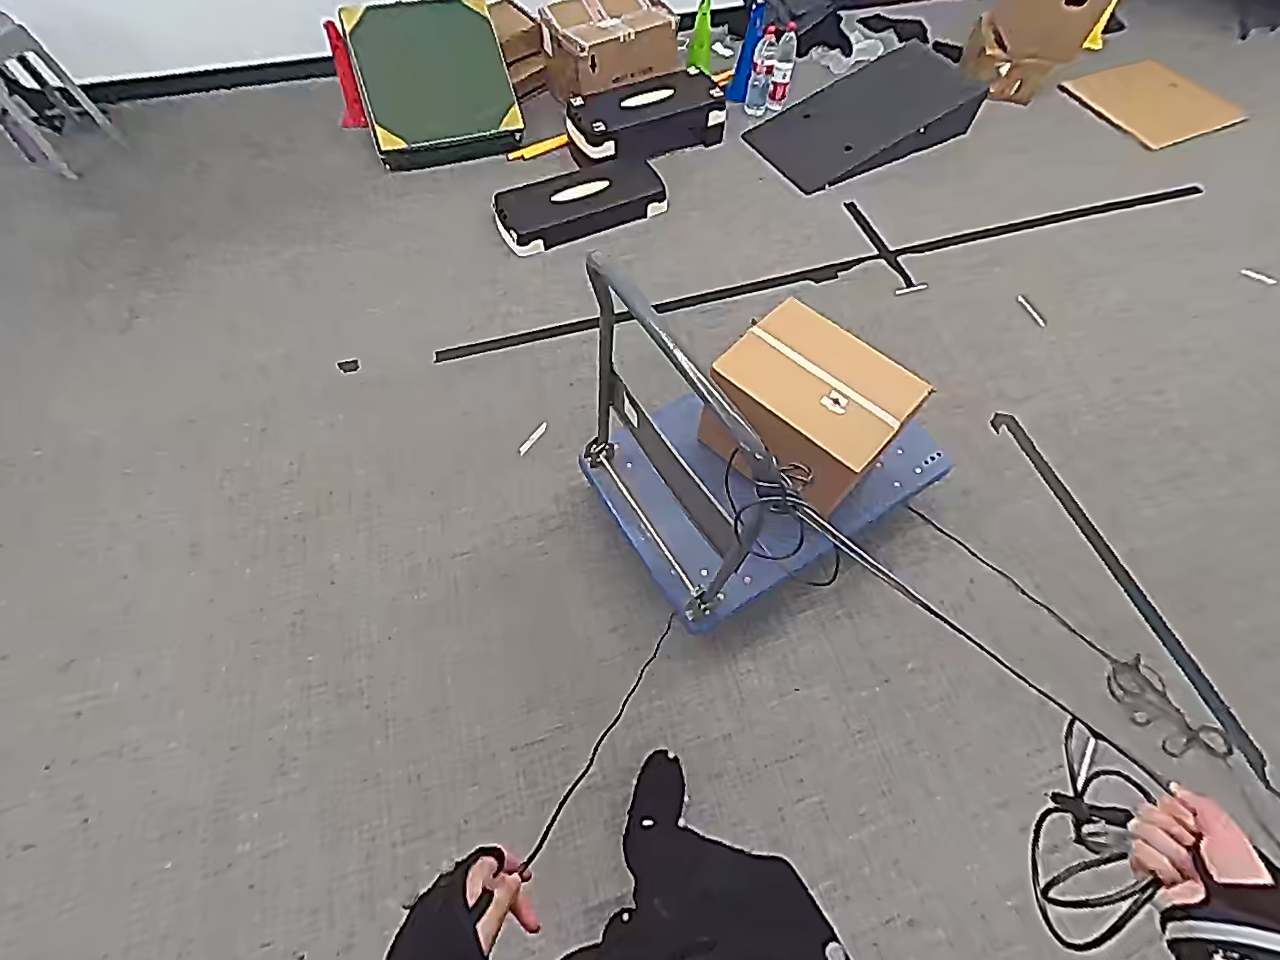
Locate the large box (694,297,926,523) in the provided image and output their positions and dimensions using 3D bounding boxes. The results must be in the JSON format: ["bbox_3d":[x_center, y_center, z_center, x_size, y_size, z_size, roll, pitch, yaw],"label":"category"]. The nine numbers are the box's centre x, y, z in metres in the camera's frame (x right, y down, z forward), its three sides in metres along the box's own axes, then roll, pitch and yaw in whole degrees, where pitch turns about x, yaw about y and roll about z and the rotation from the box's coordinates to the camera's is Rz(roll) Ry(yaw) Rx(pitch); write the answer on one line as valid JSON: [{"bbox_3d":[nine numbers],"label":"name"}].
[{"bbox_3d":[0.394,-0.170,1.354,0.408,0.320,0.320,40,69,17],"label":"large box"}]
